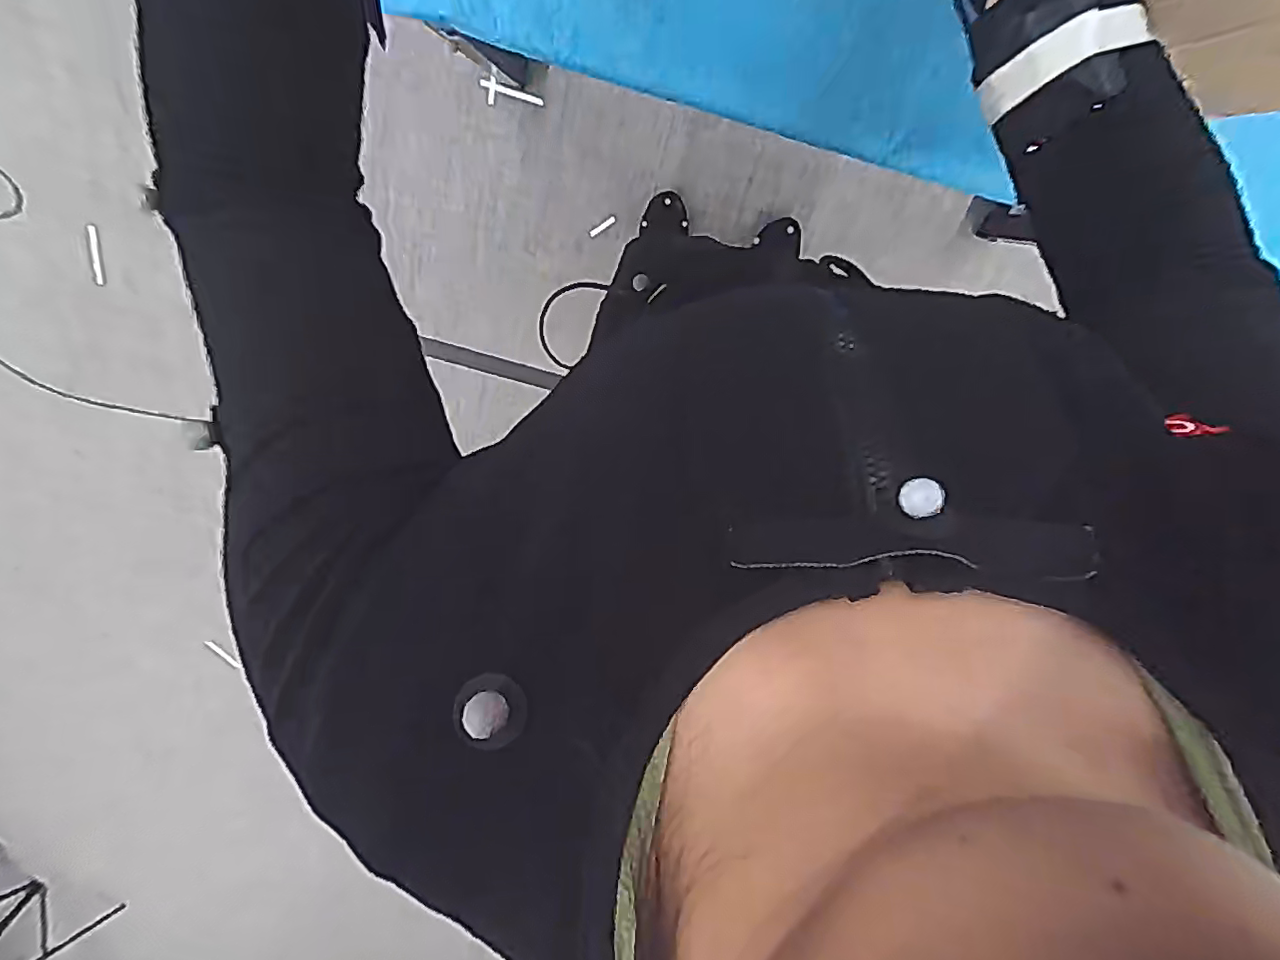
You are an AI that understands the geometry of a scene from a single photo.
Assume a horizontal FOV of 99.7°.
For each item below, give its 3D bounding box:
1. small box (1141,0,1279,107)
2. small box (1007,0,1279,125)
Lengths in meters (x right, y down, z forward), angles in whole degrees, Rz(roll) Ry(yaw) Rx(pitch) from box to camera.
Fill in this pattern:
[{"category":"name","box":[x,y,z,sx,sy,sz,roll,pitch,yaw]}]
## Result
[{"category":"small box","box":[0.466,-0.332,0.310,0.179,0.176,0.168,10,118,-5]},{"category":"small box","box":[0.462,-0.416,0.449,0.179,0.176,0.168,13,118,-6]}]
